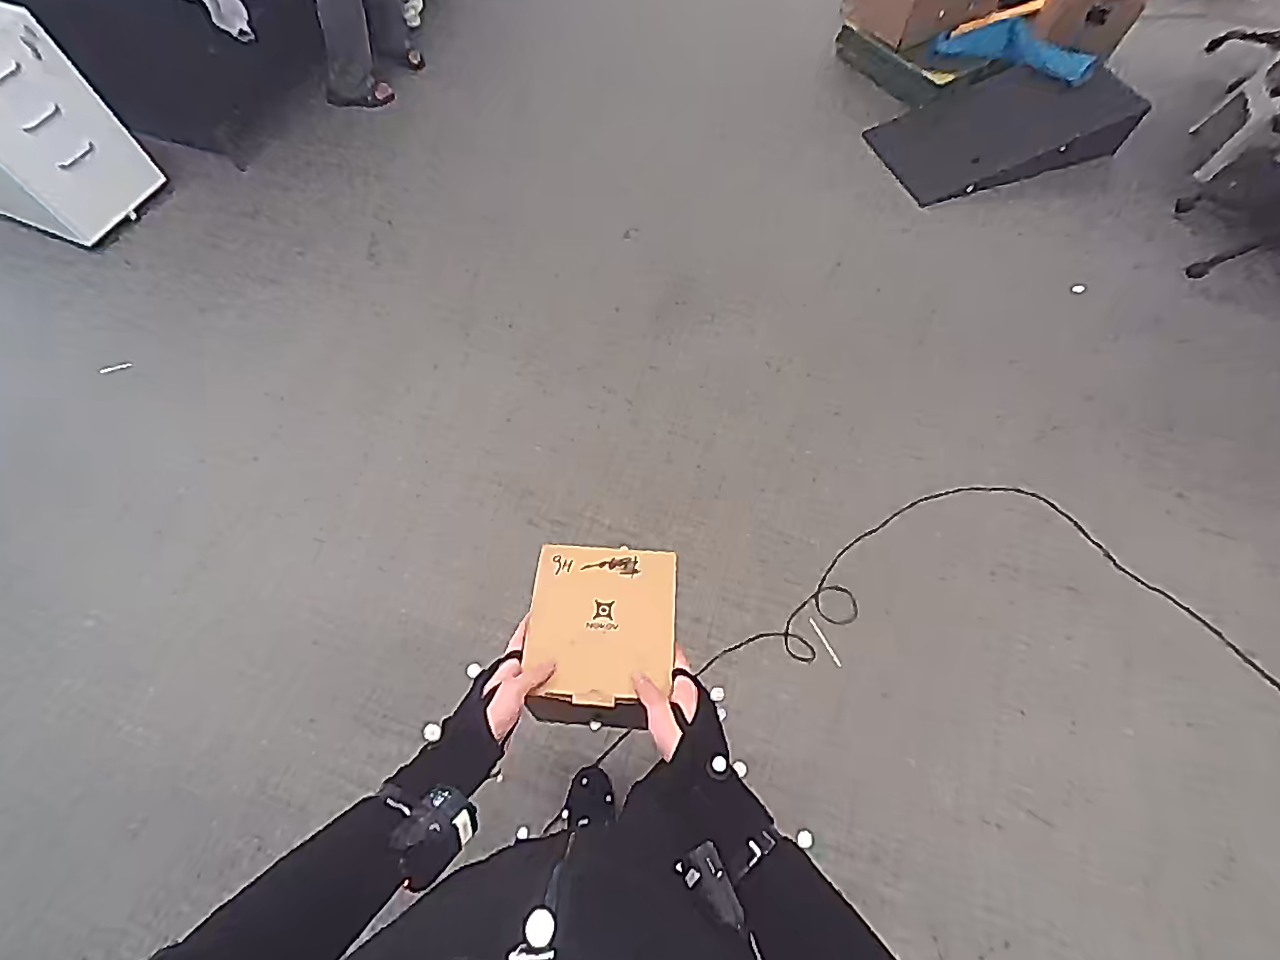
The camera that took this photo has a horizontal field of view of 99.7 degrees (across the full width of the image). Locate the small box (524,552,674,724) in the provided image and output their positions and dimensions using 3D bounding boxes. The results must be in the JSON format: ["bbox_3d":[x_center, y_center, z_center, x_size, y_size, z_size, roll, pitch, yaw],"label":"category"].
[{"bbox_3d":[-0.043,0.207,0.689,0.168,0.176,0.179,1,57,-1],"label":"small box"}]
